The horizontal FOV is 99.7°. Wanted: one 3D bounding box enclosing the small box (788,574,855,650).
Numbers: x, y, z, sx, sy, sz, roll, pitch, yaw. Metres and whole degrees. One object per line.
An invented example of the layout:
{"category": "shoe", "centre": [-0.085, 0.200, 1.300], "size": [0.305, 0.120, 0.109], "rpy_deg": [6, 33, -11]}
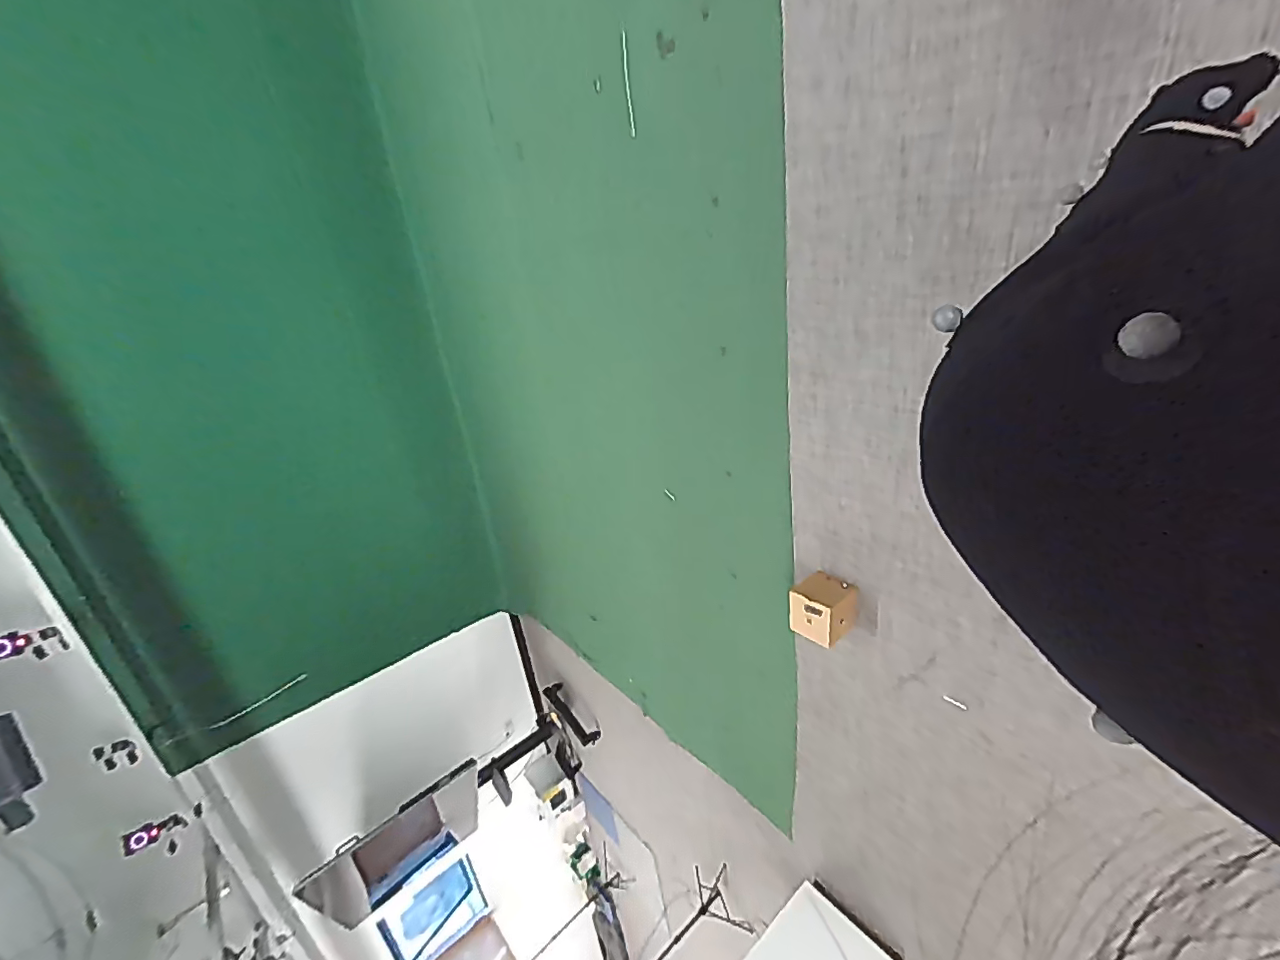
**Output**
{"category": "small box", "centre": [0.651, 0.463, 1.936], "size": [0.168, 0.176, 0.179], "rpy_deg": [21, 126, 47]}
